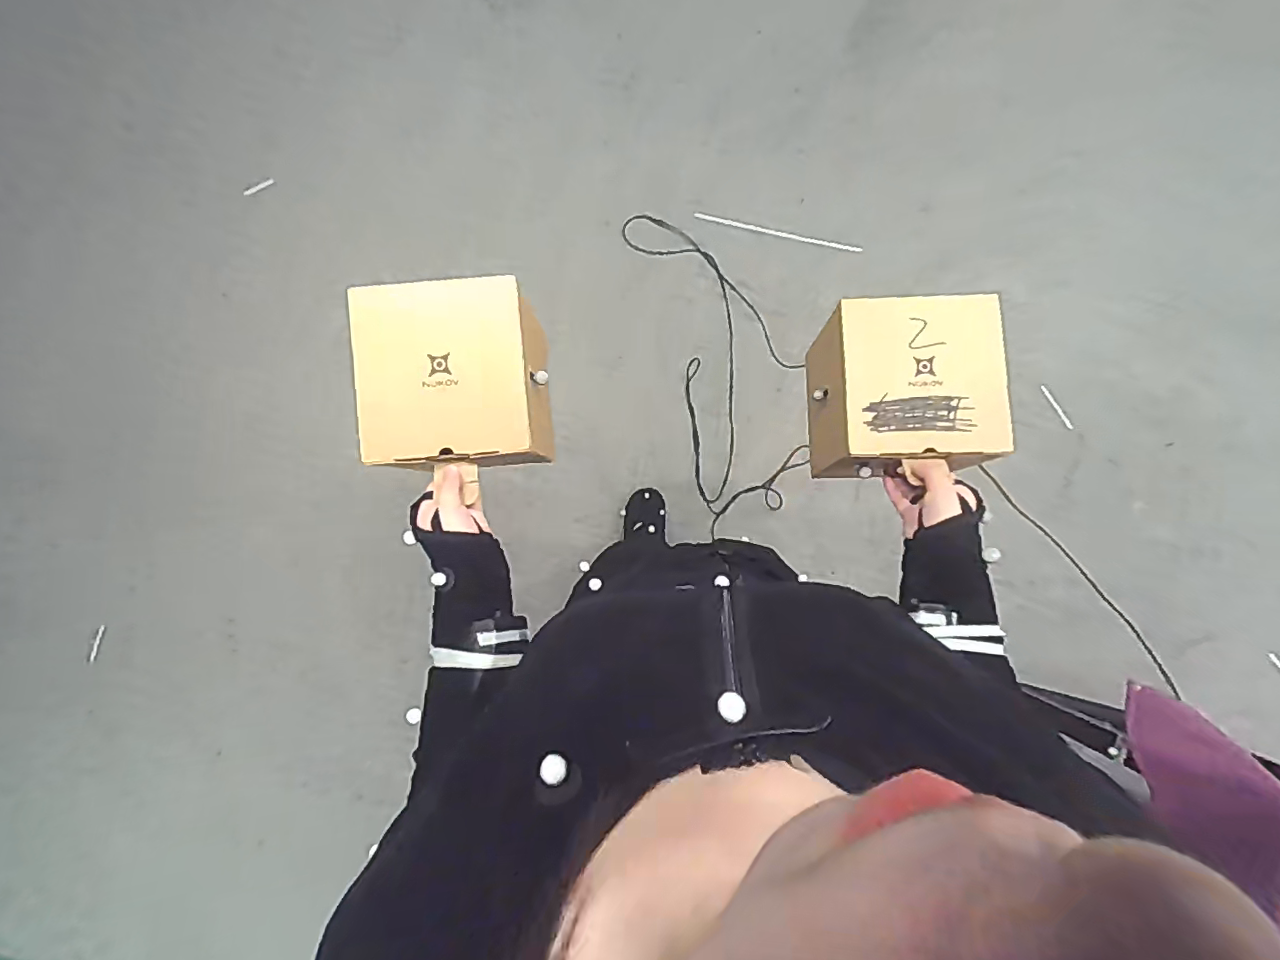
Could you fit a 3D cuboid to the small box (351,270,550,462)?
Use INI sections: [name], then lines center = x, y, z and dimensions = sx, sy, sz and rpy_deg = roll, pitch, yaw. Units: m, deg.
[small box]
center = -0.196, -0.114, 0.603
dimensions = 0.168, 0.176, 0.179
rpy_deg = -4, 91, -2
